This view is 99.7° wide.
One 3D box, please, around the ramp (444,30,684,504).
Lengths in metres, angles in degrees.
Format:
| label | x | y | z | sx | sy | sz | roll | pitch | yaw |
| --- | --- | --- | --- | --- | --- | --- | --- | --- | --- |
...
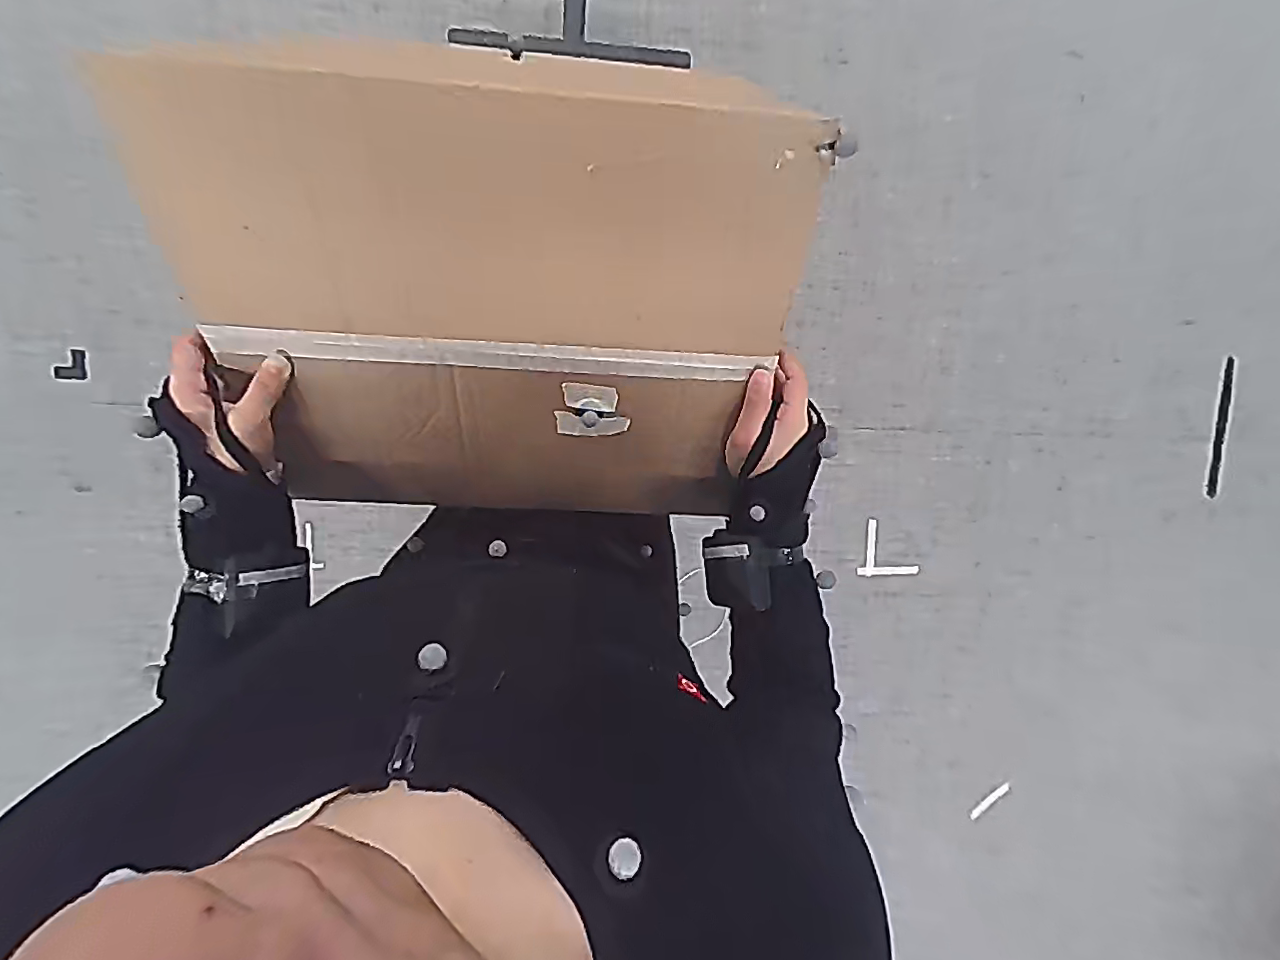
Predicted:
| label | x | y | z | sx | sy | sz | roll | pitch | yaw |
| --- | --- | --- | --- | --- | --- | --- | --- | --- | --- |
| ramp | -0.173 | -0.415 | 1.248 | 0.509 | 0.206 | 0.991 | 0 | 98 | -6 |

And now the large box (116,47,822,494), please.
| label | x | y | z | sx | sy | sz | roll | pitch | yaw |
| --- | --- | --- | --- | --- | --- | --- | --- | --- | --- |
| large box | -0.106 | -0.201 | 0.513 | 0.408 | 0.320 | 0.320 | 1 | 132 | -5 |
